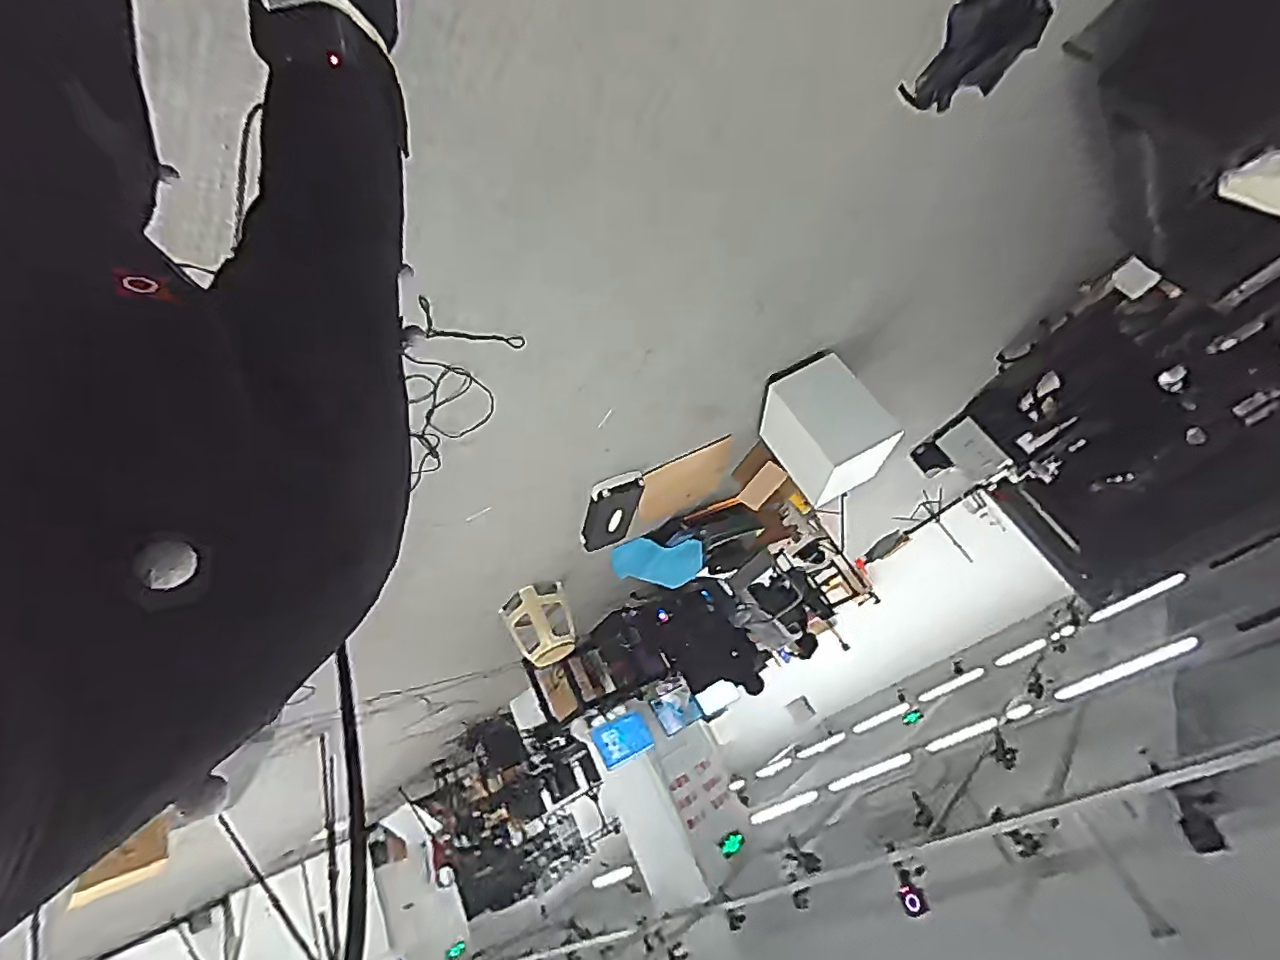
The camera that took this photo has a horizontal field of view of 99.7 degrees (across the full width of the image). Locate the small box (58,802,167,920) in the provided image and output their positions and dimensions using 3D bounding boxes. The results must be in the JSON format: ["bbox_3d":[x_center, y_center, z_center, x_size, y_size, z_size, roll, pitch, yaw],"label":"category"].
[{"bbox_3d":[-1.363,0.974,1.394,0.168,0.176,0.179,-44,153,26],"label":"small box"}]
